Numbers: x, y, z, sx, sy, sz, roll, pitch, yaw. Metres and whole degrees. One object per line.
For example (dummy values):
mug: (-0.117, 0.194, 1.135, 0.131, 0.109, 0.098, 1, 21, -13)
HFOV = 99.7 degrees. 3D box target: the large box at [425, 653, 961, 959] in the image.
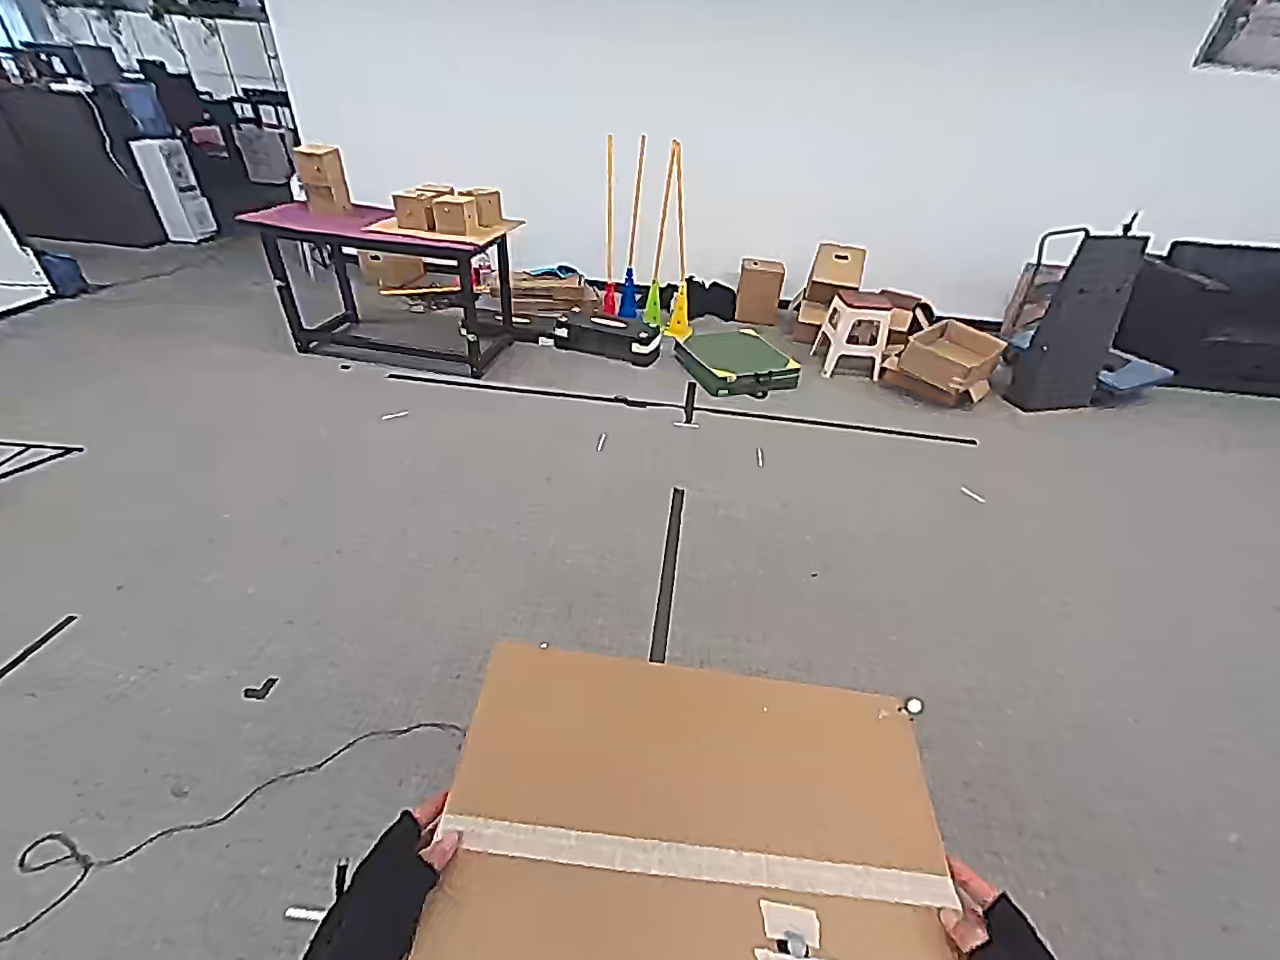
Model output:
large box: (0.031, 0.407, 0.541, 0.408, 0.320, 0.320, 8, 46, -2)
